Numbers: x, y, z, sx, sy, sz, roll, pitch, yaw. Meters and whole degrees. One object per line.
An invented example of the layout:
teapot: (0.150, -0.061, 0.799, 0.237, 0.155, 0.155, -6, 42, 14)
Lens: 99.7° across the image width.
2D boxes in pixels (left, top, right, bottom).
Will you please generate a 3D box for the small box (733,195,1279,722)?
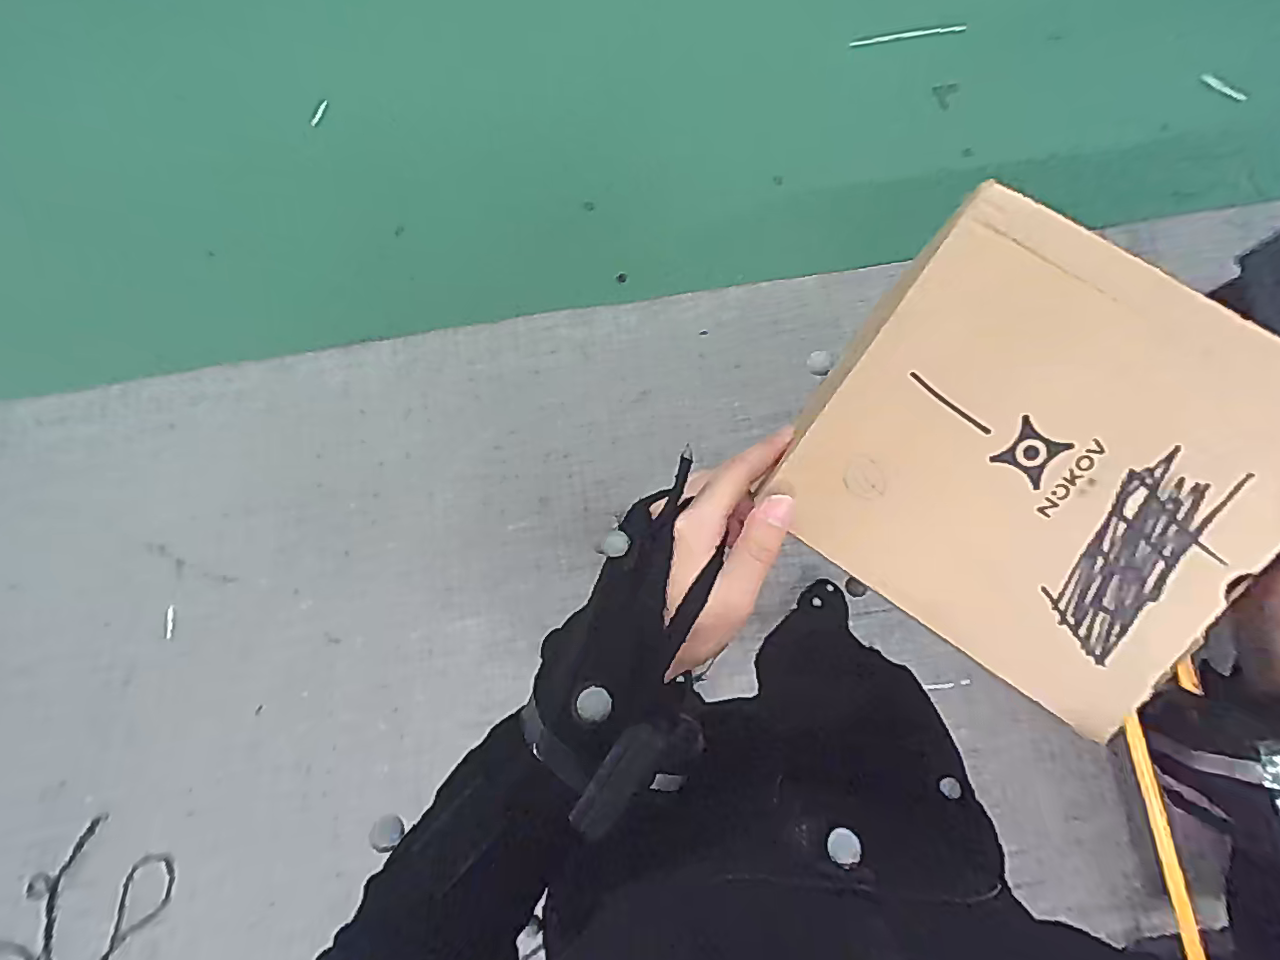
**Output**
small box: (0.173, -0.014, 0.307, 0.179, 0.176, 0.168, 34, 100, 8)
